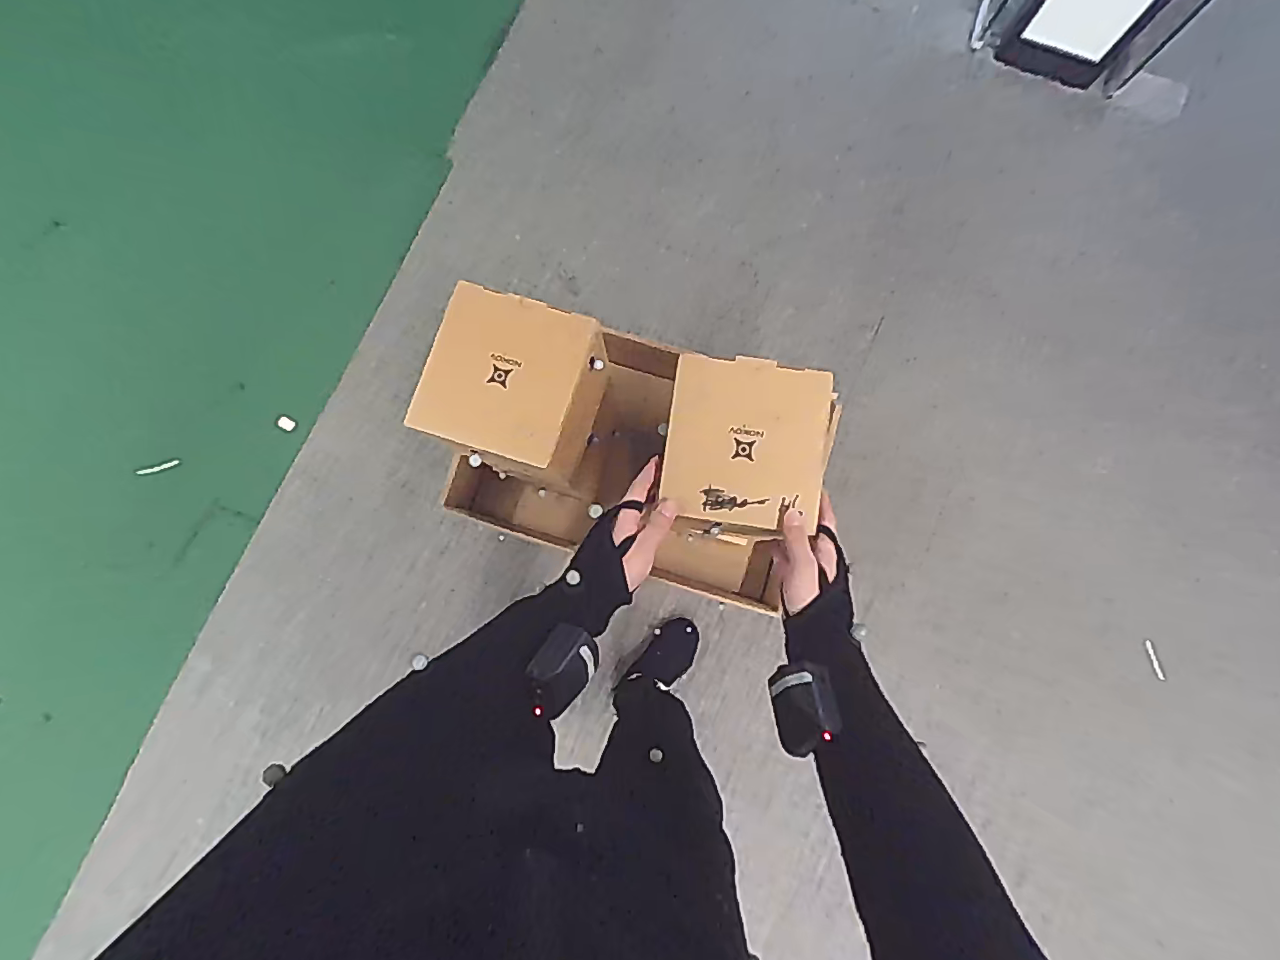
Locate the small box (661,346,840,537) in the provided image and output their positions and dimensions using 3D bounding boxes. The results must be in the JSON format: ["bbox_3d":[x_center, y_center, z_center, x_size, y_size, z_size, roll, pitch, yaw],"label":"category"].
[{"bbox_3d":[0.117,-0.033,0.629,0.168,0.176,0.179,9,83,4],"label":"small box"}]

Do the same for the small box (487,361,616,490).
[{"bbox_3d":[-0.139,-0.094,0.811,0.168,0.176,0.179,19,82,4],"label":"small box"}]

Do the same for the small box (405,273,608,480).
[{"bbox_3d":[-0.142,-0.109,0.649,0.168,0.176,0.179,17,82,4],"label":"small box"}]
